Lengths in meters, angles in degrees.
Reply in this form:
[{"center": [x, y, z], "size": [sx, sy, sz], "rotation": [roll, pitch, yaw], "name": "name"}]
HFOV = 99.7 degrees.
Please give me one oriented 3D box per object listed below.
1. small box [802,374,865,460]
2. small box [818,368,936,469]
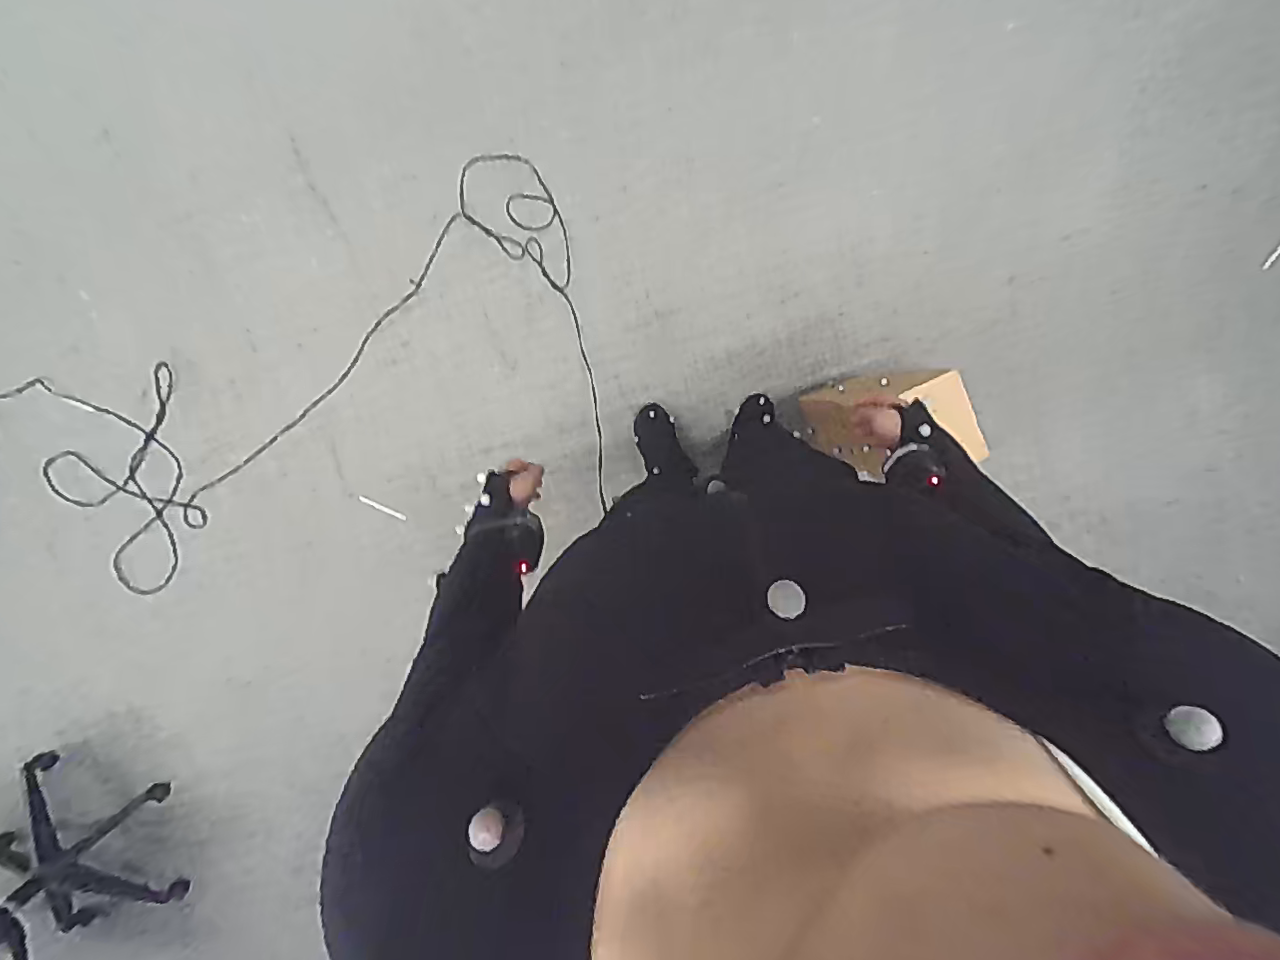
[{"center": [0.525, -0.163, 1.372], "size": [0.179, 0.176, 0.168], "rotation": [-20, 100, 6], "name": "small box"}, {"center": [0.516, -0.141, 1.210], "size": [0.179, 0.176, 0.168], "rotation": [-23, 101, 4], "name": "small box"}]
